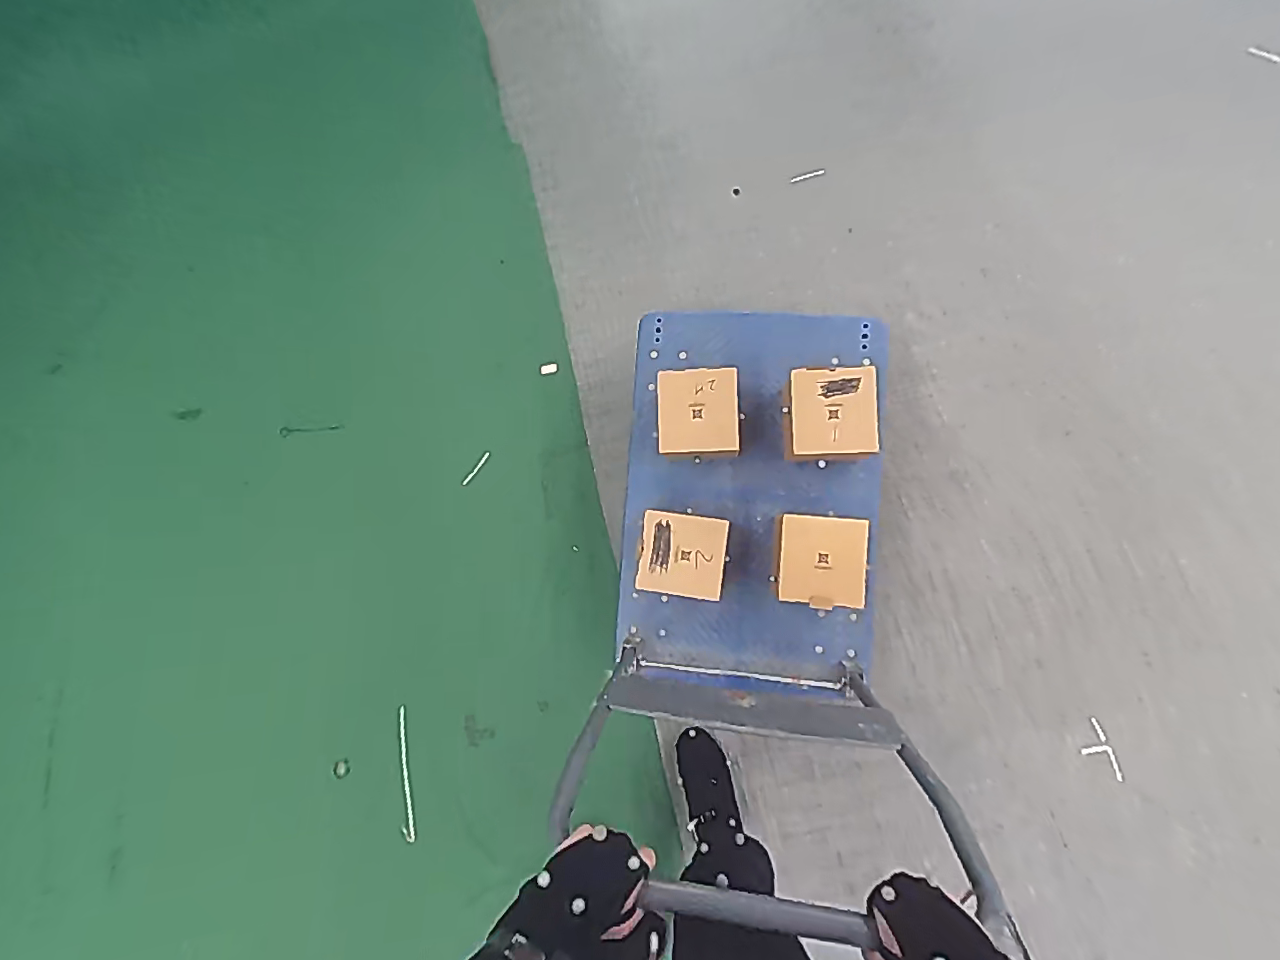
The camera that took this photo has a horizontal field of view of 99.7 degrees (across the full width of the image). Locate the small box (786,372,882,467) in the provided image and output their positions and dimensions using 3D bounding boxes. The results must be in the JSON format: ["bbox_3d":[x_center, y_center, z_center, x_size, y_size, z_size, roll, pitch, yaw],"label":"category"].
[{"bbox_3d":[0.405,-0.123,1.154,0.168,0.176,0.179,0,87,8],"label":"small box"}]

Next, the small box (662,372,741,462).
[{"bbox_3d":[0.137,-0.130,1.190,0.168,0.176,0.179,-1,86,7],"label":"small box"}]

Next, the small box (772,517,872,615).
[{"bbox_3d":[0.374,0.173,1.136,0.168,0.176,0.179,4,87,8],"label":"small box"}]
